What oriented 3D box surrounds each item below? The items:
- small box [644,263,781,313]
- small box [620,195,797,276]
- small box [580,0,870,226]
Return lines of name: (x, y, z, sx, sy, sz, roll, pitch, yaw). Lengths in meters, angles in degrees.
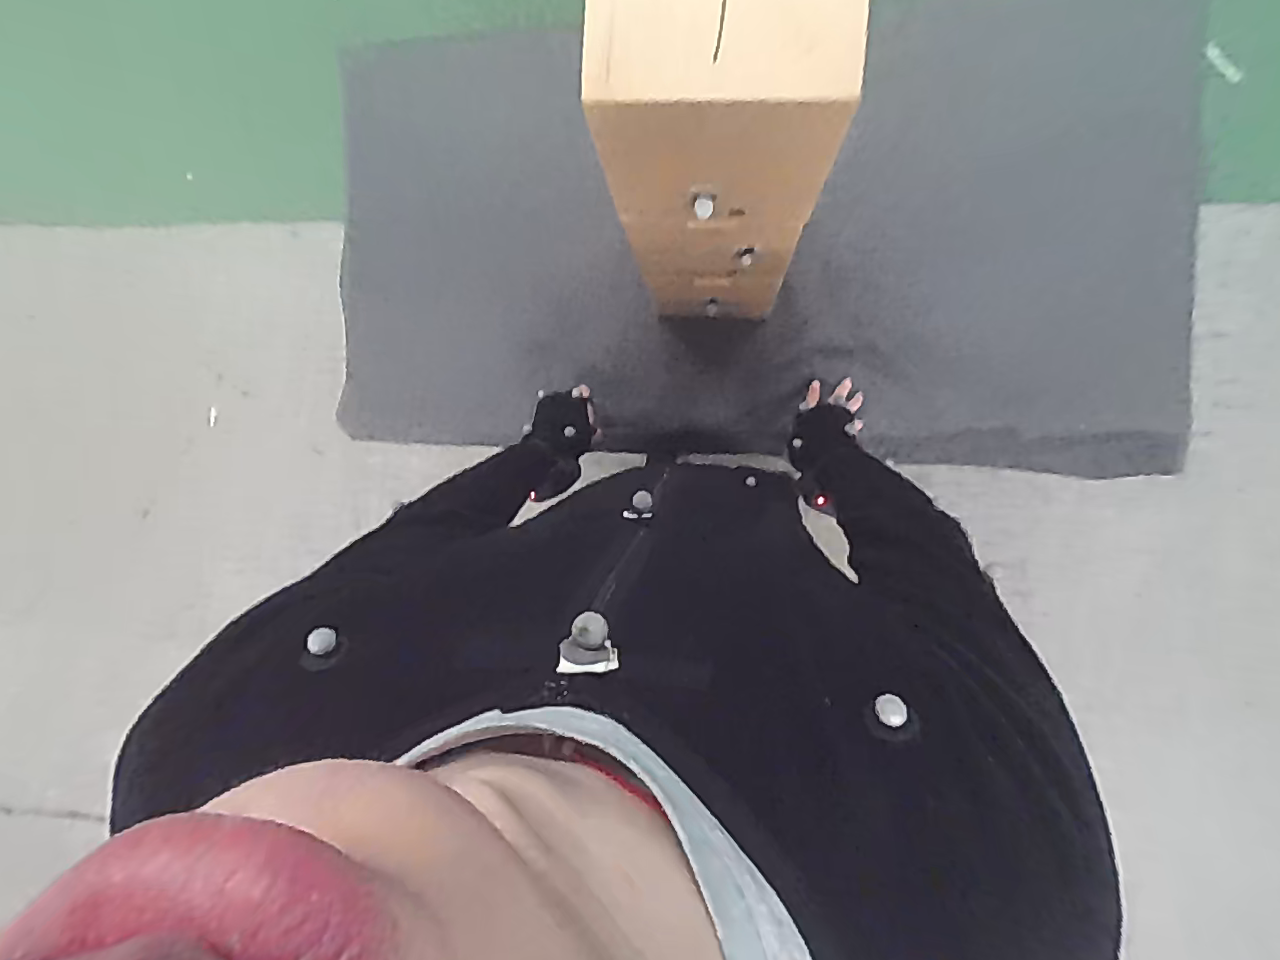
small box: (0.102, -0.327, 0.713, 0.168, 0.176, 0.179, 4, 93, 8)
small box: (0.077, -0.320, 0.552, 0.168, 0.176, 0.179, 3, 92, 7)
small box: (0.060, -0.309, 0.389, 0.168, 0.176, 0.179, 5, 94, 7)
